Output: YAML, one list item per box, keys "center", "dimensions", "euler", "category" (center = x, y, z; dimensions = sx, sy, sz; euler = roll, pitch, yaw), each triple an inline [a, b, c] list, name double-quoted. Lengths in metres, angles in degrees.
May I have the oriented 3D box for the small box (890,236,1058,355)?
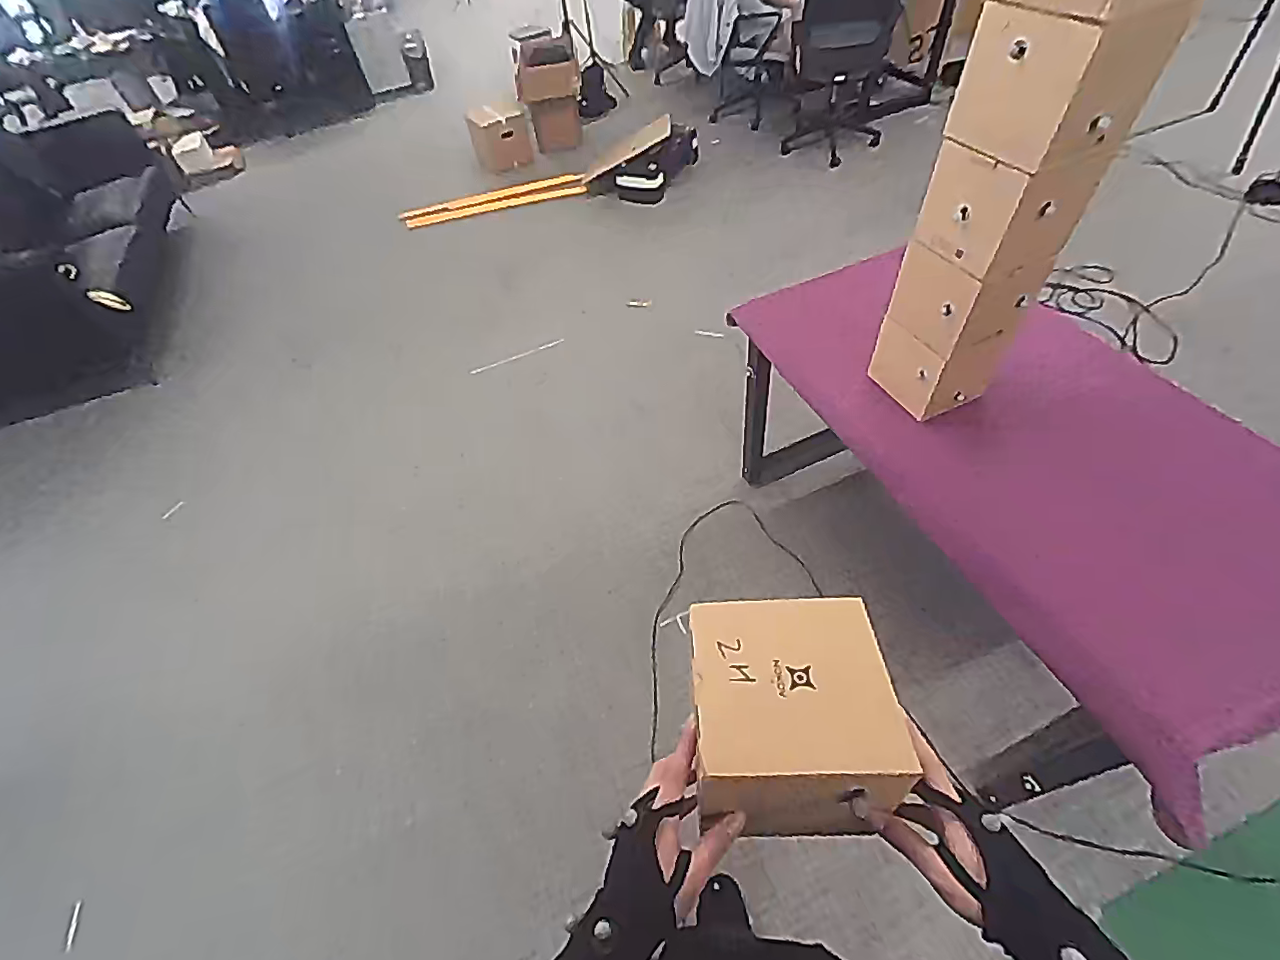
- center: [0.603, -0.353, 1.003]
  dimensions: [0.168, 0.176, 0.179]
  euler: [-22, 52, -10]
  category: "small box"

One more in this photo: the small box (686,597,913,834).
- center: [0.136, 0.234, 0.539]
  dimensions: [0.179, 0.176, 0.168]
  euler: [-3, 42, 4]
  category: "small box"

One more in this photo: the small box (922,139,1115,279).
- center: [0.591, -0.454, 0.877]
  dimensions: [0.179, 0.176, 0.168]
  euler: [-23, 53, -10]
  category: "small box"

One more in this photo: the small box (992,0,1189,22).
- center: [0.559, -0.651, 0.617]
  dimensions: [0.168, 0.176, 0.179]
  euler: [-23, 52, -10]
  category: "small box"

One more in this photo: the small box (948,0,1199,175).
- center: [0.571, -0.553, 0.746]
  dimensions: [0.168, 0.176, 0.179]
  euler: [-23, 54, -11]
  category: "small box"
